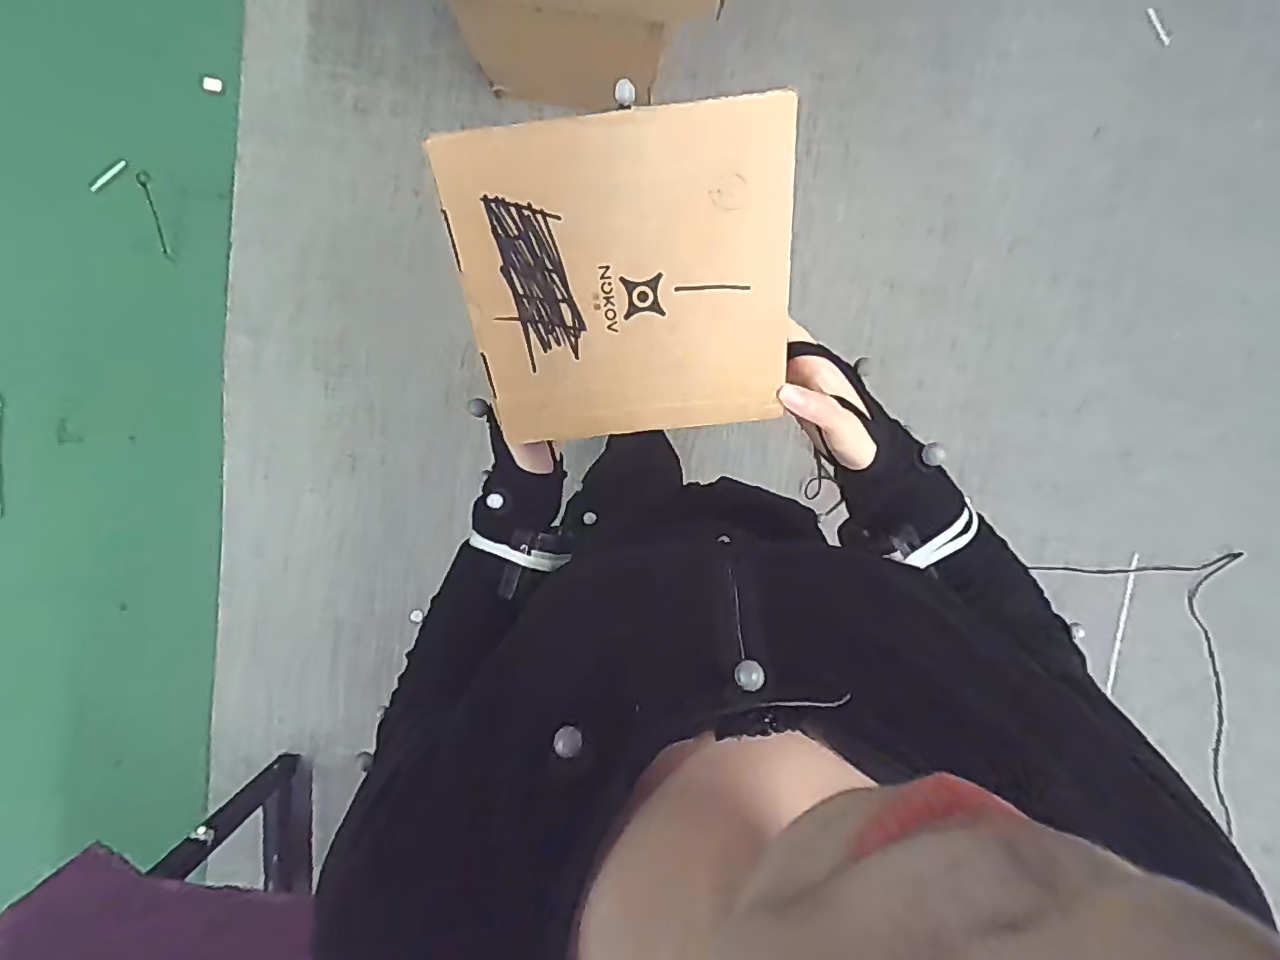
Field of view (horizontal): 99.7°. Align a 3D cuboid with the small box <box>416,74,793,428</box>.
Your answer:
[{"bbox_3d":[-0.011,-0.148,0.353,0.179,0.176,0.168,-4,123,3],"label":"small box"}]
